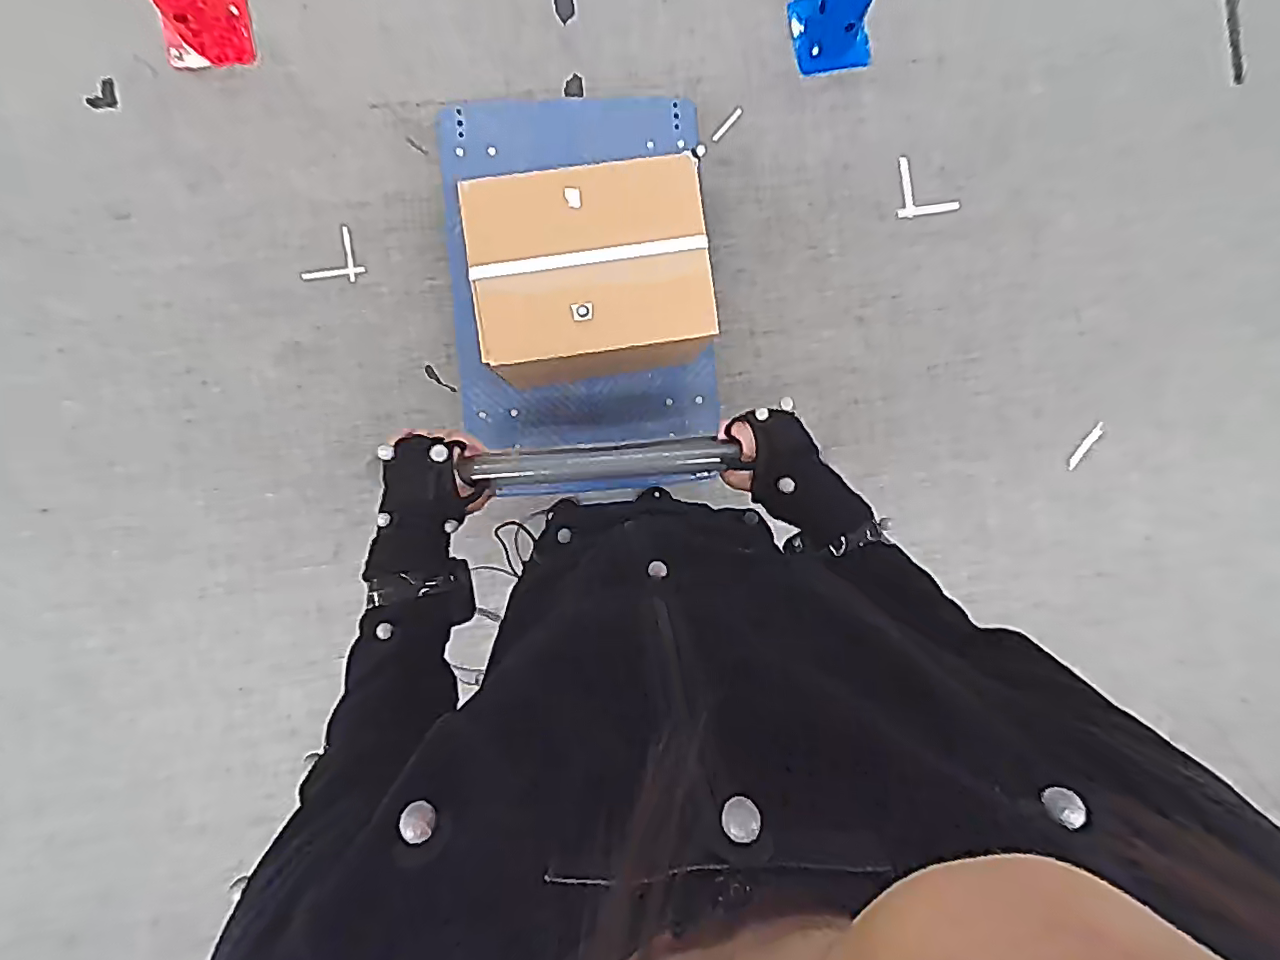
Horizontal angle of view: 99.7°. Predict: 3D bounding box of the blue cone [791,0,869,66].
[{"bbox_3d":[0.509,-1.176,1.242,0.193,0.380,0.192,-11,92,-4],"label":"blue cone"}]
